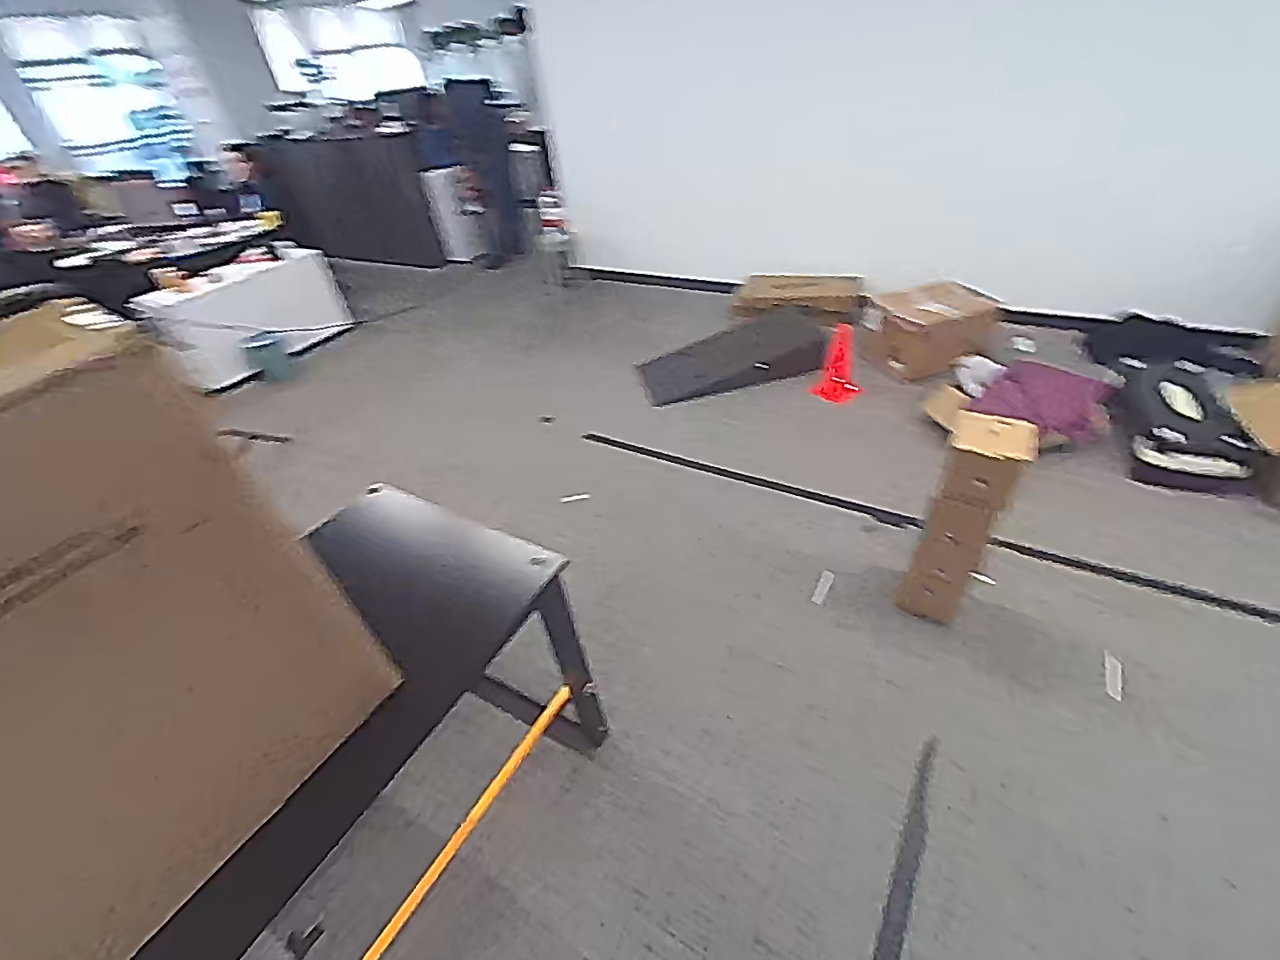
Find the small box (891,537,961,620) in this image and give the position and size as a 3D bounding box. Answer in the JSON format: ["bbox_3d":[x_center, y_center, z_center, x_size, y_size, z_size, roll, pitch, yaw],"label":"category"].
[{"bbox_3d":[0.927,0.317,1.732,0.179,0.176,0.168,20,47,29],"label":"small box"}]

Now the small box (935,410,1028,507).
[{"bbox_3d":[0.887,-0.055,1.413,0.168,0.176,0.179,16,46,27],"label":"small box"}]

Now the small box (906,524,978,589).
[{"bbox_3d":[0.918,0.190,1.627,0.168,0.176,0.179,19,47,29],"label":"small box"}]

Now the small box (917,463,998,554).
[{"bbox_3d":[0.895,0.074,1.514,0.168,0.176,0.179,19,48,30],"label":"small box"}]
